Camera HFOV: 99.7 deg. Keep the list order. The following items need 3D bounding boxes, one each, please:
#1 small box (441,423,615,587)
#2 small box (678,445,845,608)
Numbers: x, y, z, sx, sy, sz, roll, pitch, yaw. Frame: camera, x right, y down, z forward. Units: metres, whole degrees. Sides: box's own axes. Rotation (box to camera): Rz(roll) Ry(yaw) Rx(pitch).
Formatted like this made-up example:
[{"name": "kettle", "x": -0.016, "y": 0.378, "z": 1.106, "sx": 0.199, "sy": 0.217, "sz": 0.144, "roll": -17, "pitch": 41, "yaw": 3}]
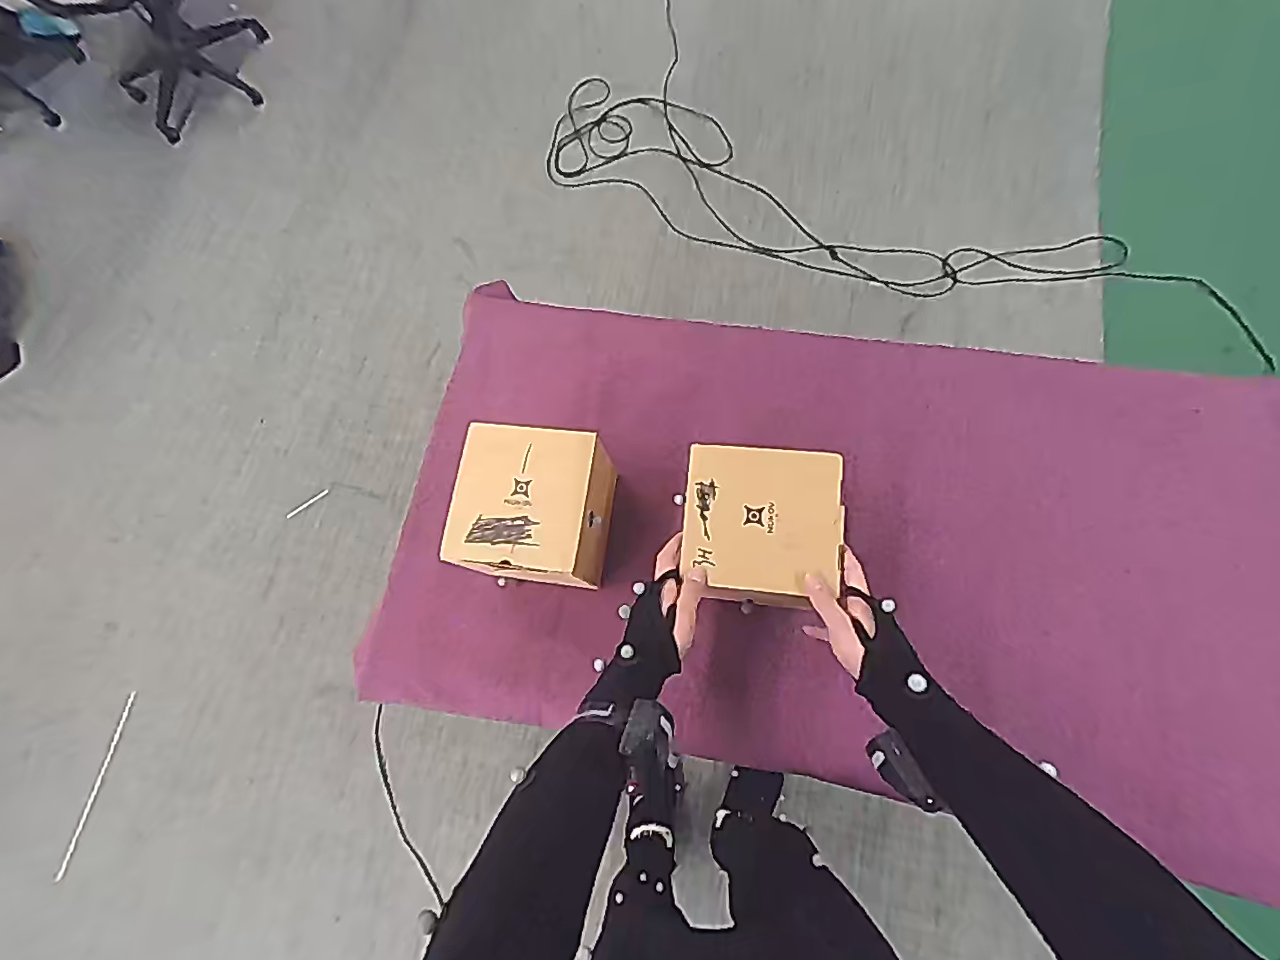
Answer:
[{"name": "small box", "x": -0.134, "y": 0.041, "z": 0.720, "sx": 0.168, "sy": 0.176, "sz": 0.179, "roll": 6, "pitch": 73, "yaw": 8}, {"name": "small box", "x": 0.145, "y": 0.067, "z": 0.681, "sx": 0.179, "sy": 0.176, "sz": 0.168, "roll": 5, "pitch": 74, "yaw": 8}]
